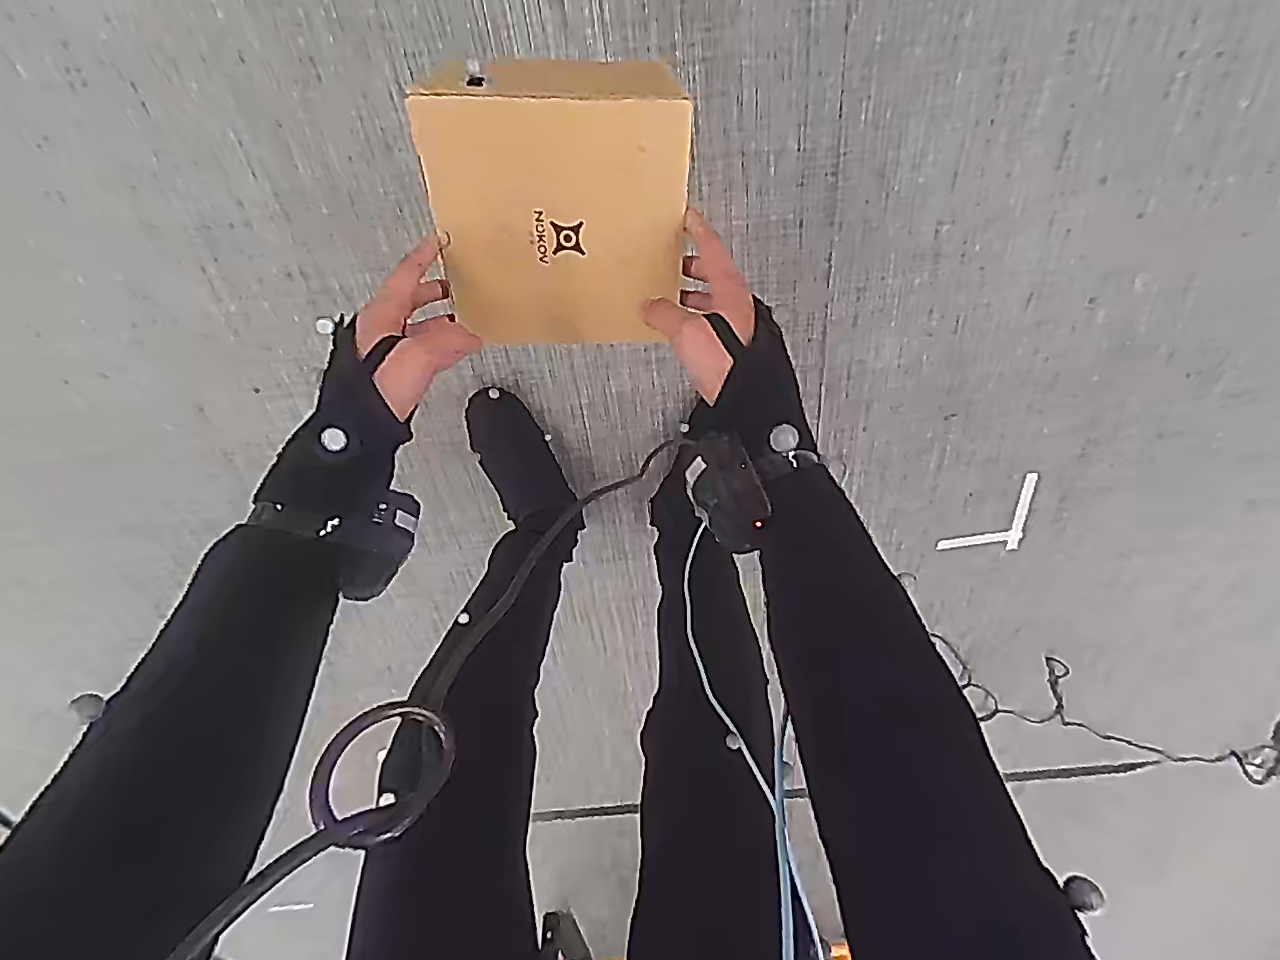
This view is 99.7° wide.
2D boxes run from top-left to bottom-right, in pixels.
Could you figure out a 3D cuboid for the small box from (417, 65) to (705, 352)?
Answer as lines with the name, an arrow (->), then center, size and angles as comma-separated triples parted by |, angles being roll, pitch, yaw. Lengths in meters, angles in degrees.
small box -> -0.052, -0.219, 0.434 | 0.179, 0.176, 0.168 | 0, 134, -2
